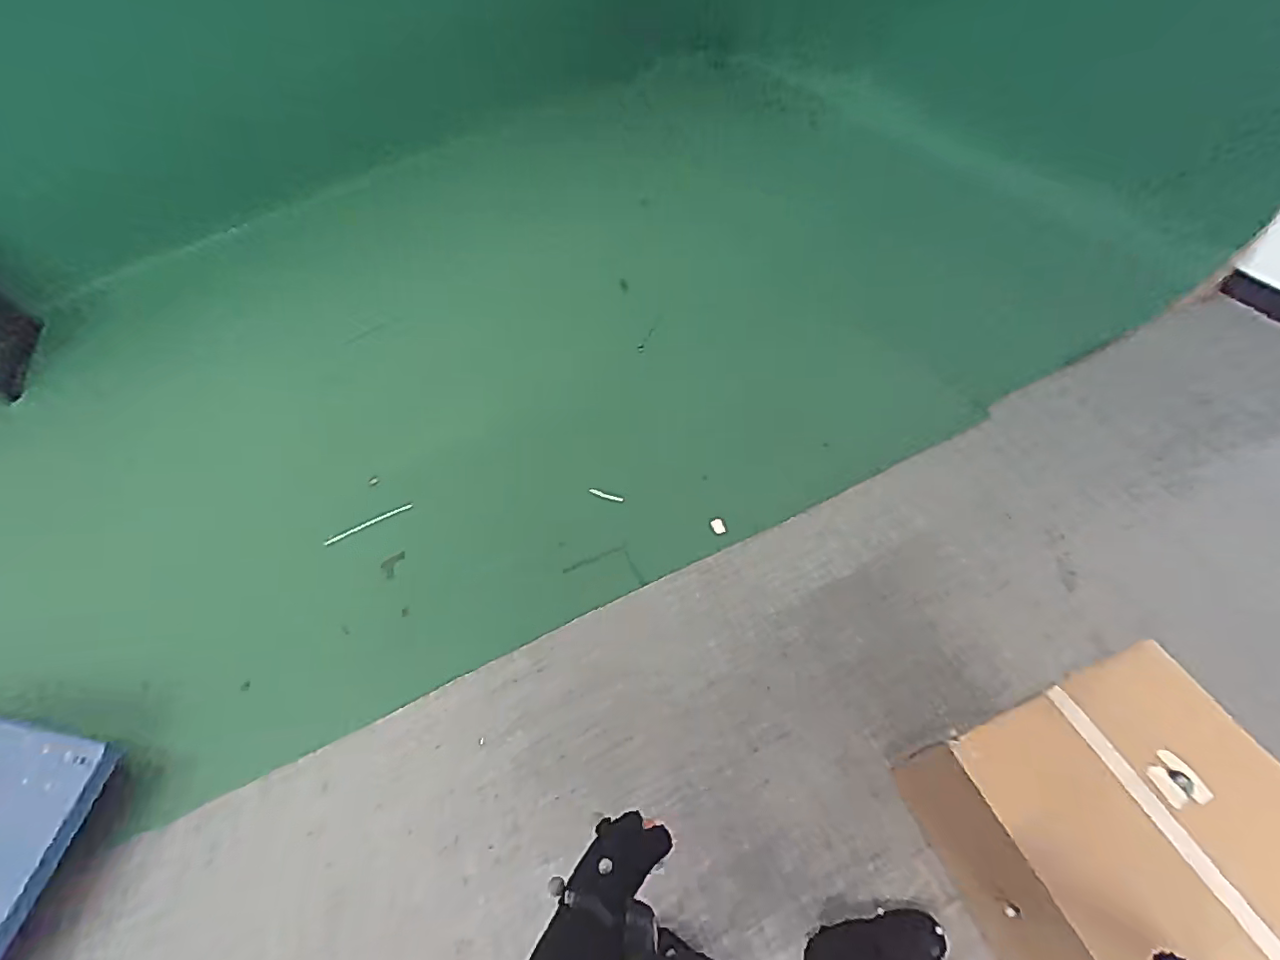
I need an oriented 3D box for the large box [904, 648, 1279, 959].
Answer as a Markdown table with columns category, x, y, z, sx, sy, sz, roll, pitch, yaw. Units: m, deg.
| category | x | y | z | sx | sy | sz | roll | pitch | yaw |
| --- | --- | --- | --- | --- | --- | --- | --- | --- | --- |
| large box | 0.633 | 0.509 | 0.719 | 0.320 | 0.320 | 0.408 | -25 | 54 | -2 |
